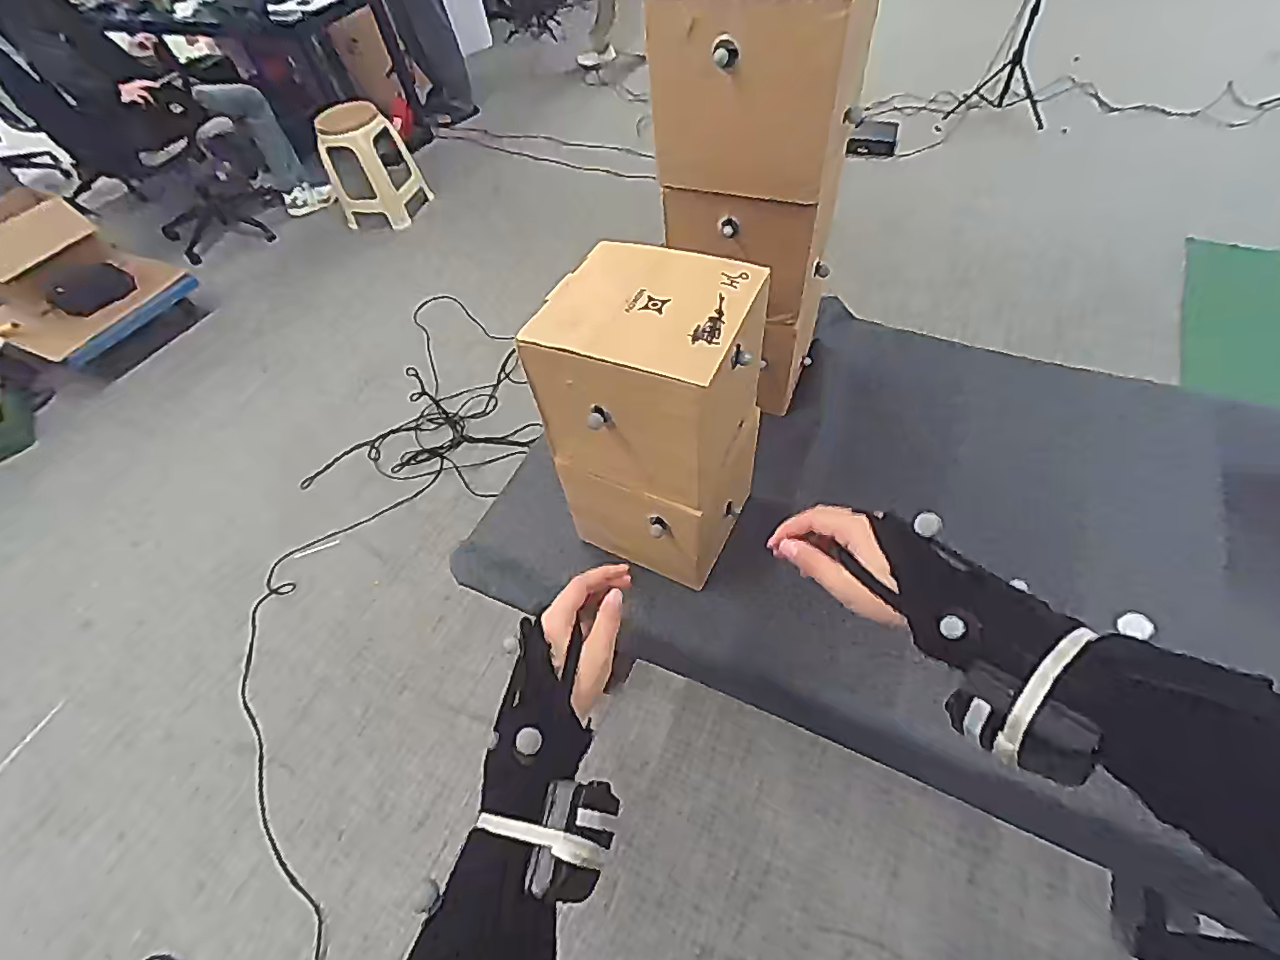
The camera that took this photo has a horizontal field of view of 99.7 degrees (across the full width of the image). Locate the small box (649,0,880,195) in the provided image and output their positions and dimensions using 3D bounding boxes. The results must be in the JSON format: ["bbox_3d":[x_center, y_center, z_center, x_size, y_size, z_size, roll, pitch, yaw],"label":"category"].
[{"bbox_3d":[0.121,-0.407,0.529,0.179,0.176,0.168,18,62,17],"label":"small box"}]

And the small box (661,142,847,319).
[{"bbox_3d":[0.139,-0.325,0.670,0.179,0.176,0.168,16,61,16],"label":"small box"}]

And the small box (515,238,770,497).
[{"bbox_3d":[0.012,-0.107,0.530,0.179,0.176,0.168,17,57,19],"label":"small box"}]

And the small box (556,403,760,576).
[{"bbox_3d":[0.028,-0.006,0.657,0.179,0.176,0.168,21,58,20],"label":"small box"}]
